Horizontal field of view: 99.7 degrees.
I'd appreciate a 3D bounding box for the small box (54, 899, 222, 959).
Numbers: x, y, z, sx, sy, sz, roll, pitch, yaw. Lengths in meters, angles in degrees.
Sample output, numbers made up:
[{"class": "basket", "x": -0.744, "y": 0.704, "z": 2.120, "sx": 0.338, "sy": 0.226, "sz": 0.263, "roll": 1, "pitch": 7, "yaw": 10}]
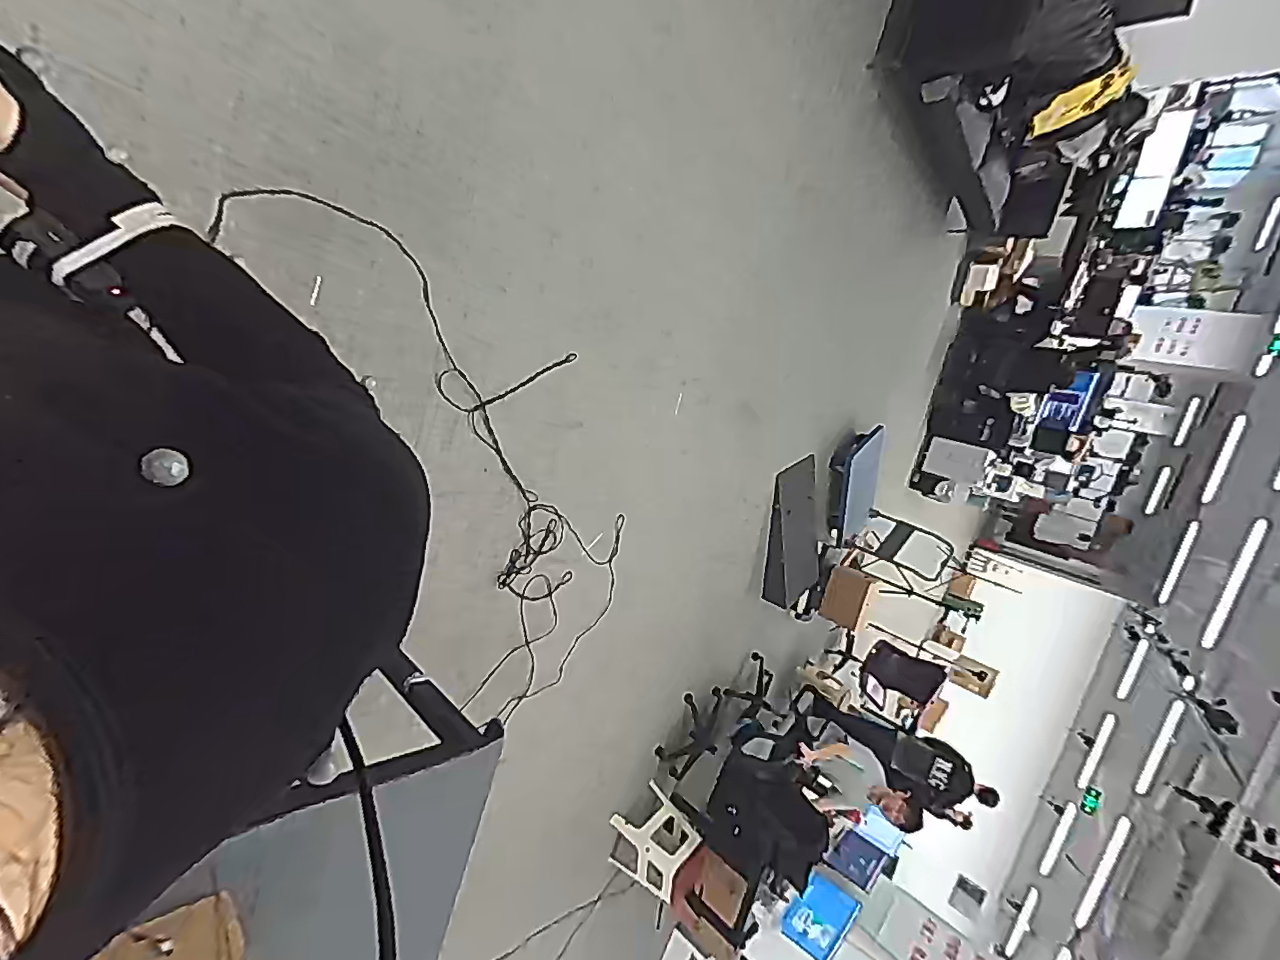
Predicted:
[{"class": "small box", "x": -0.659, "y": 0.712, "z": 0.701, "sx": 0.168, "sy": 0.176, "sz": 0.179, "roll": 9, "pitch": 101, "yaw": -52}]
